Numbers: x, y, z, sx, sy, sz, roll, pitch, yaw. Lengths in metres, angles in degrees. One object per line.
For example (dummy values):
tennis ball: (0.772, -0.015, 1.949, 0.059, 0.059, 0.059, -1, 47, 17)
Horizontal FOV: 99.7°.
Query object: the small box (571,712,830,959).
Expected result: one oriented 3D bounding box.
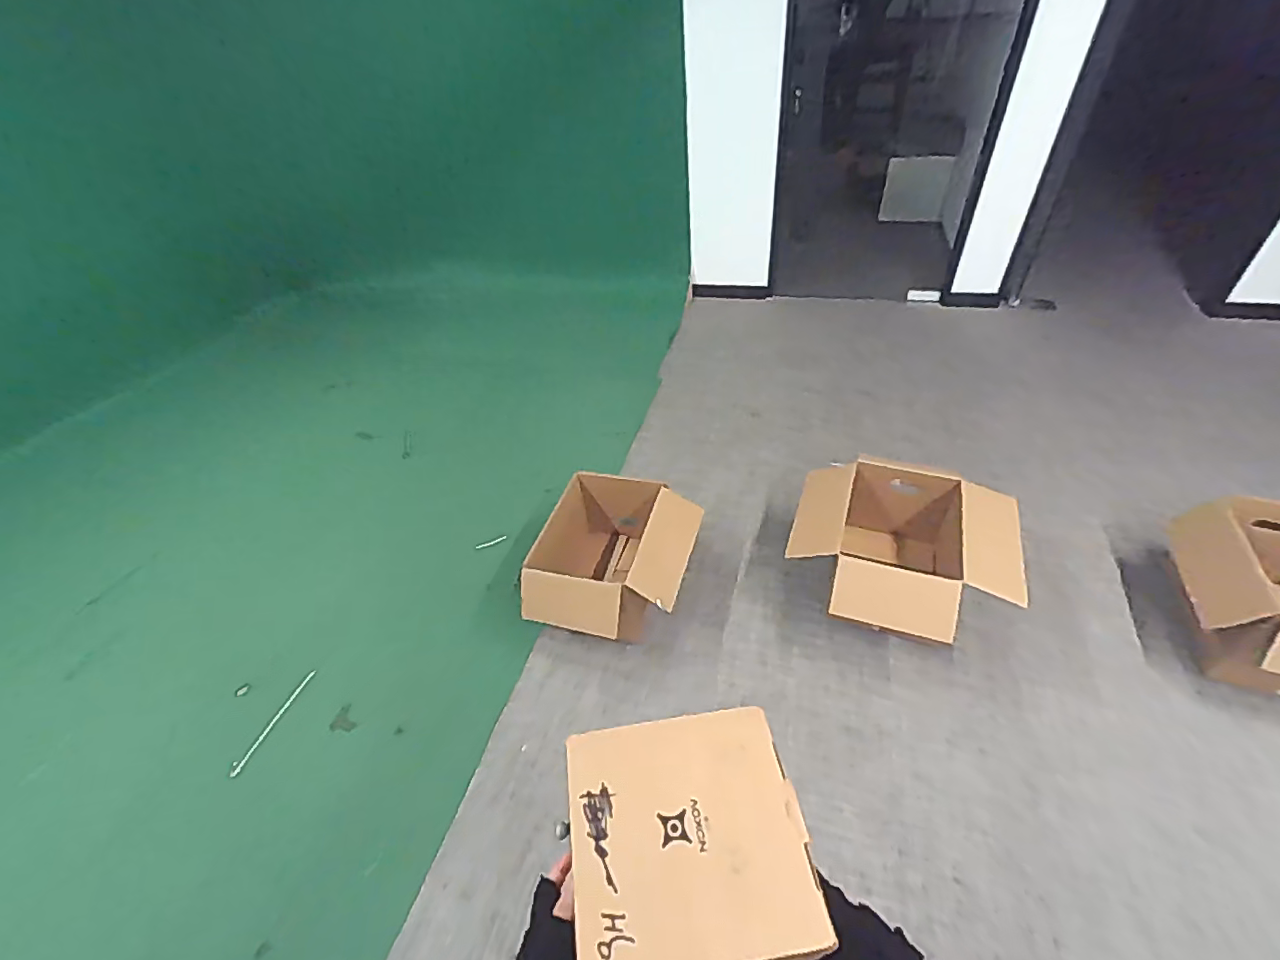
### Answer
small box: (0.033, 0.324, 0.469, 0.179, 0.176, 0.168, -4, 43, -6)
